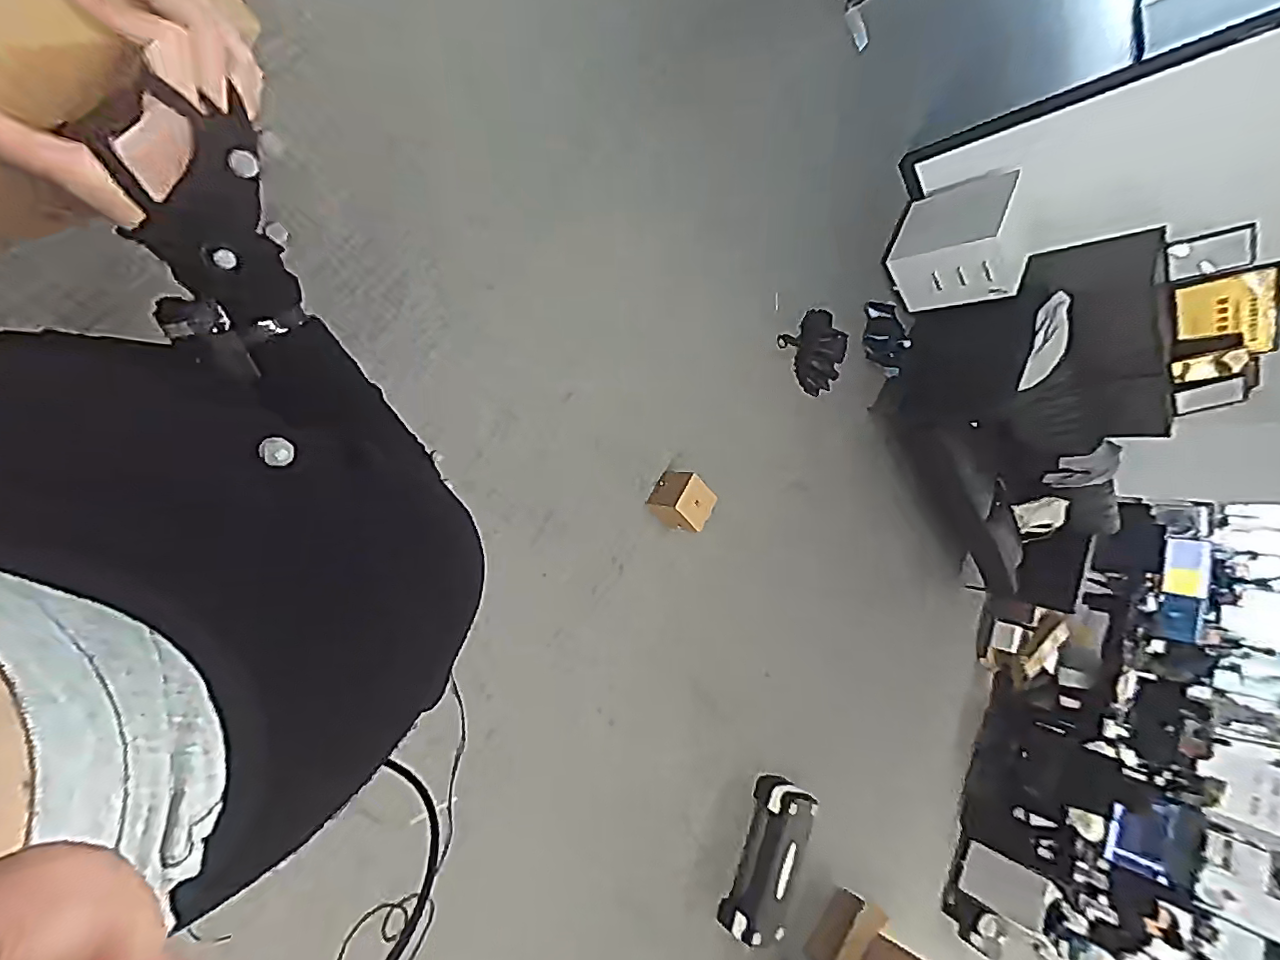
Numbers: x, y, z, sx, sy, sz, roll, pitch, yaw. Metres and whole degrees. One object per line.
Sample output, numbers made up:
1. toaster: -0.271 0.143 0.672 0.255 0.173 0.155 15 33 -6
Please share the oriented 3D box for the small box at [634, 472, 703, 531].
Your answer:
1. small box: 0.110 0.077 2.125 0.179 0.176 0.168 45 64 -33
